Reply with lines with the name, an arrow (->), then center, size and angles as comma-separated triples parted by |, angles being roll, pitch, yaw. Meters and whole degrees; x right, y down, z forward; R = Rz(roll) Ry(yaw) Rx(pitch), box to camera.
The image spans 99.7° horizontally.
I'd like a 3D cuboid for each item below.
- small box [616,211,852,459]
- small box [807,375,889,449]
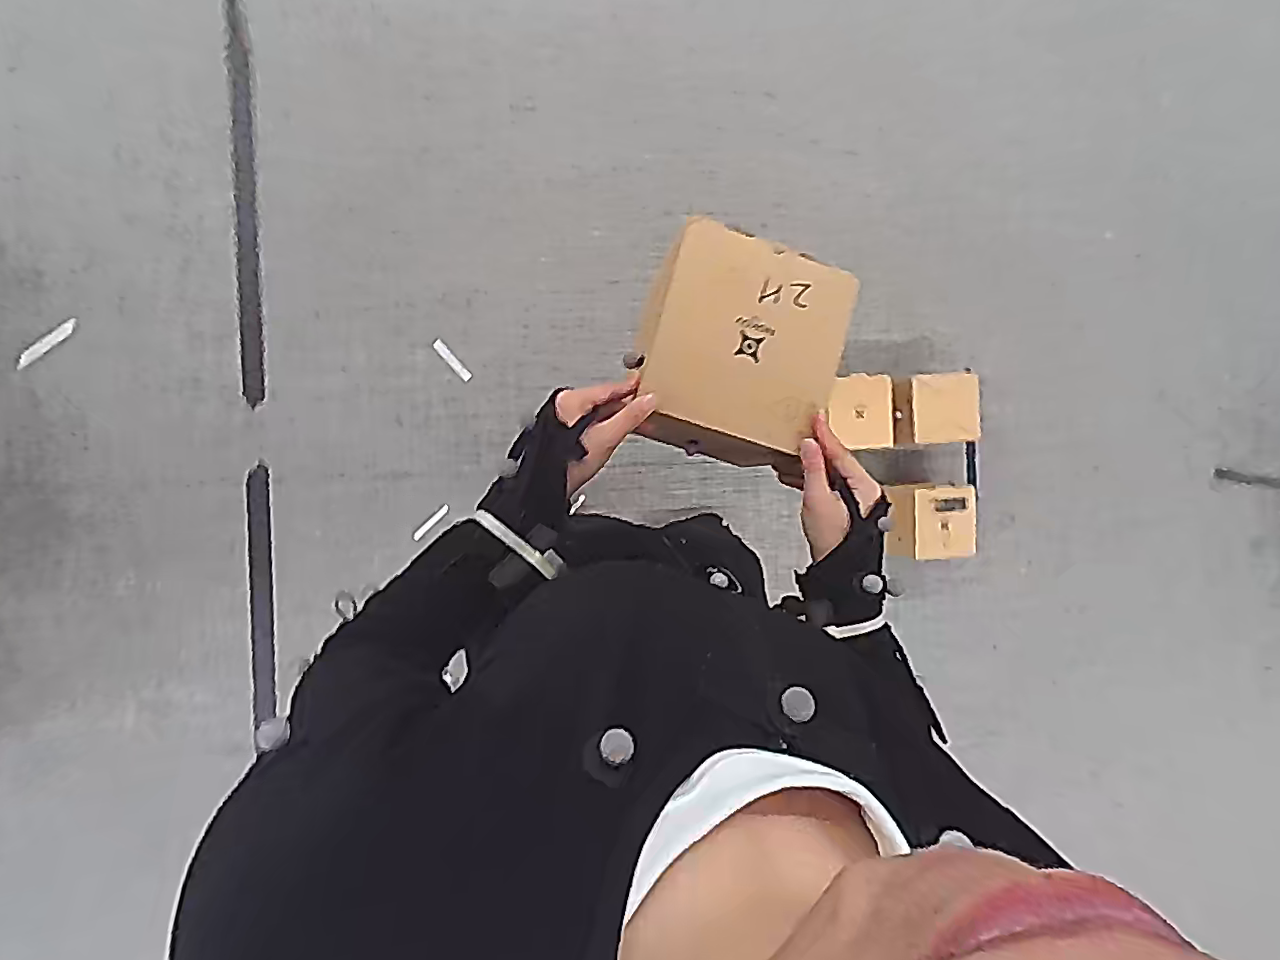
small box -> 0.079, -0.125, 0.547 | 0.168, 0.176, 0.179 | 16, 86, -10
small box -> 0.512, -0.168, 1.382 | 0.168, 0.176, 0.179 | -3, 92, -8
